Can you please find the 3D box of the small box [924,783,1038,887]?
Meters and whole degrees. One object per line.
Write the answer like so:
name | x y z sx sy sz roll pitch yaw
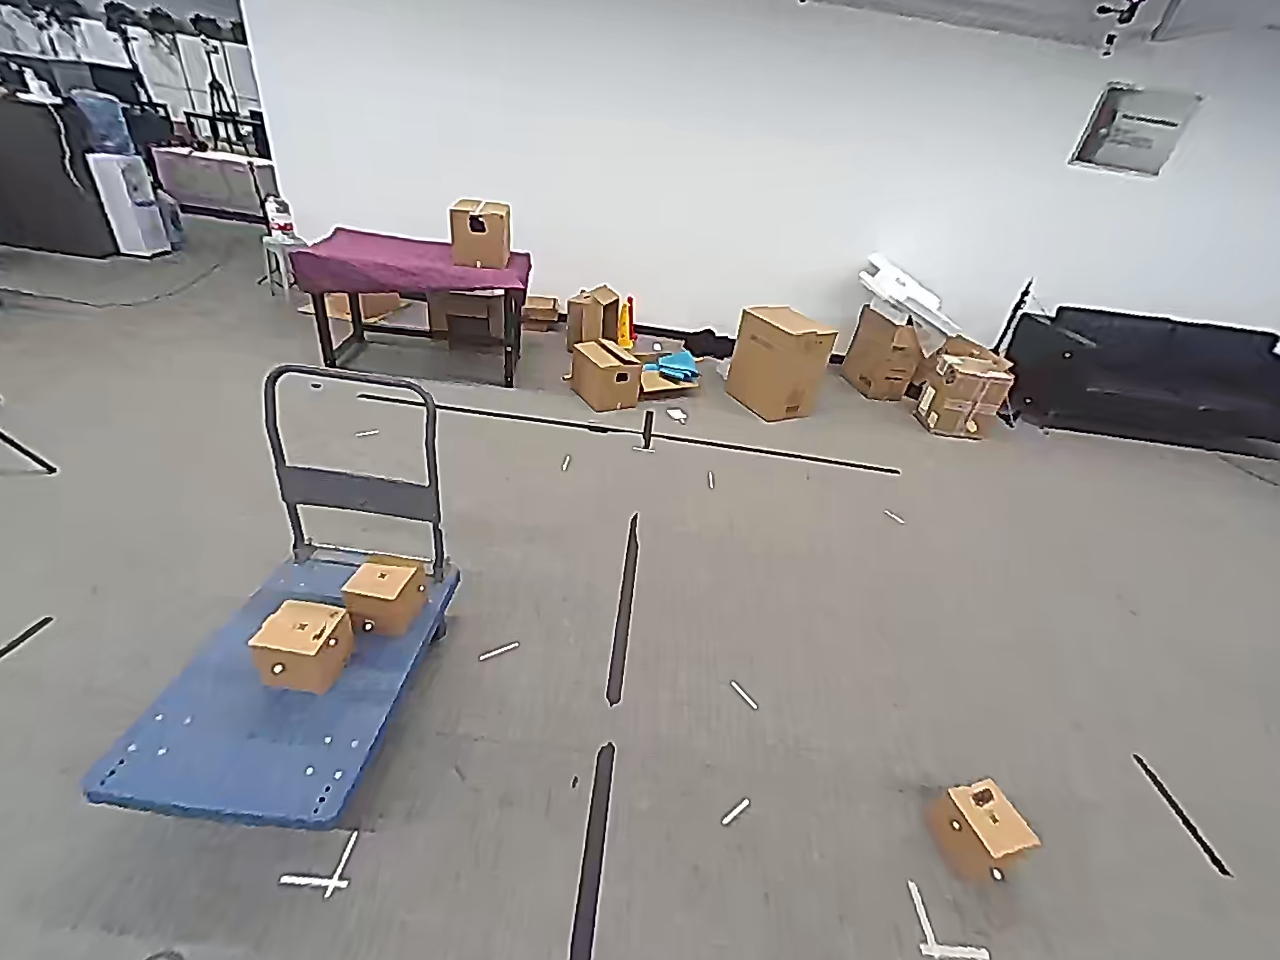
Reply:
small box | 0.936 0.986 1.505 0.168 0.176 0.179 -2 34 -17

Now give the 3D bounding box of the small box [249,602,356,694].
small box | -0.921 0.466 1.491 0.179 0.176 0.168 8 33 1

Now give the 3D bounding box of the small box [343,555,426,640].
small box | -0.786 0.365 1.685 0.168 0.176 0.179 9 34 4
